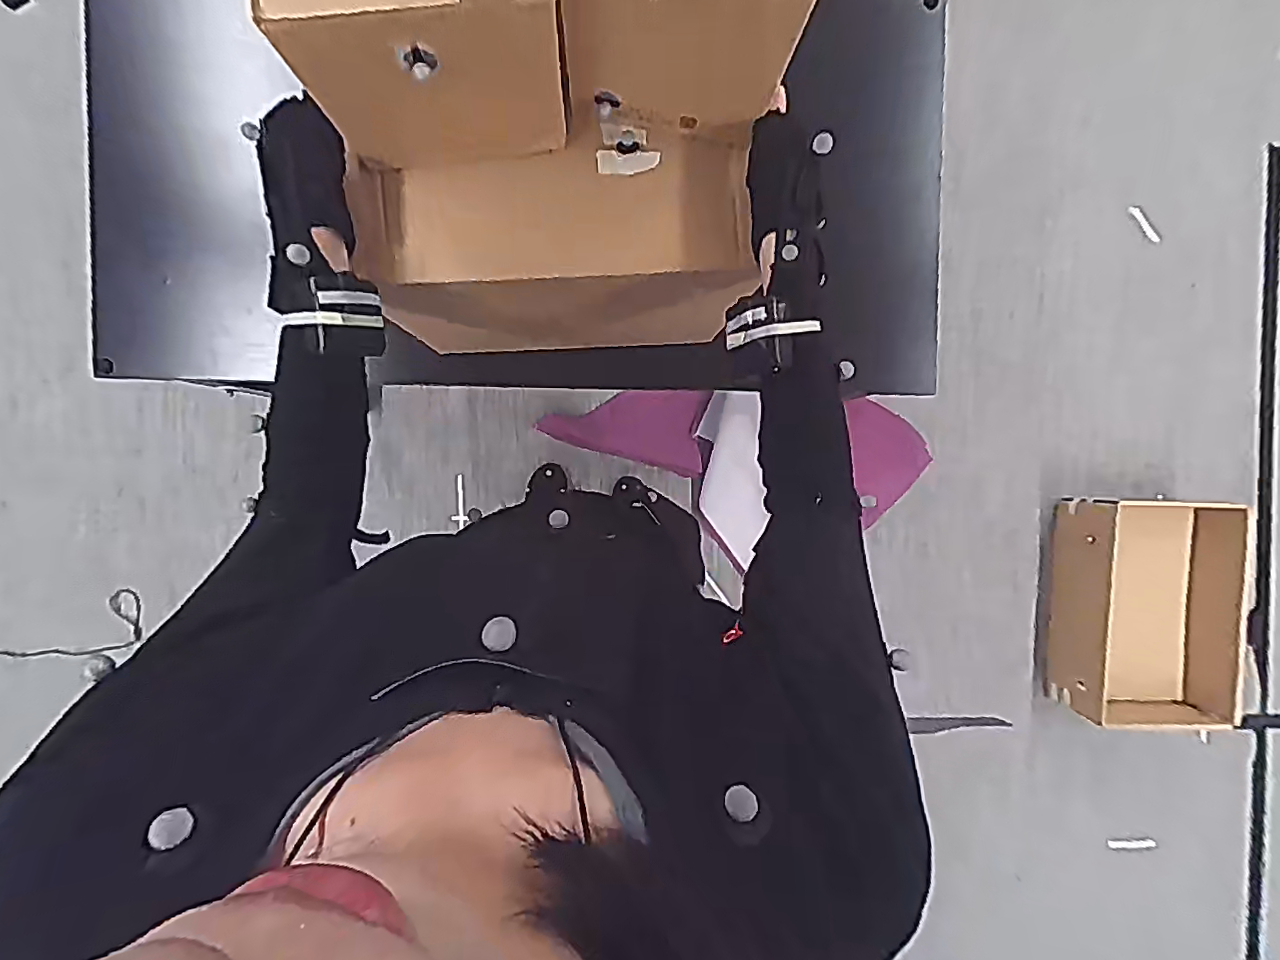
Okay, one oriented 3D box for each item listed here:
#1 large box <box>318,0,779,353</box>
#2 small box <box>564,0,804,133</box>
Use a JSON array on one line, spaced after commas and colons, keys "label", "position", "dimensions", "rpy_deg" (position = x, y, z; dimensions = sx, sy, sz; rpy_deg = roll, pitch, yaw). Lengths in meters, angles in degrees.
[{"label": "large box", "position": [-0.091, -0.347, 0.637], "dimensions": [0.408, 0.320, 0.320], "rpy_deg": [-5, 92, -5]}, {"label": "small box", "position": [0.037, -0.400, 0.401], "dimensions": [0.168, 0.176, 0.179], "rpy_deg": [8, 90, -4]}]
